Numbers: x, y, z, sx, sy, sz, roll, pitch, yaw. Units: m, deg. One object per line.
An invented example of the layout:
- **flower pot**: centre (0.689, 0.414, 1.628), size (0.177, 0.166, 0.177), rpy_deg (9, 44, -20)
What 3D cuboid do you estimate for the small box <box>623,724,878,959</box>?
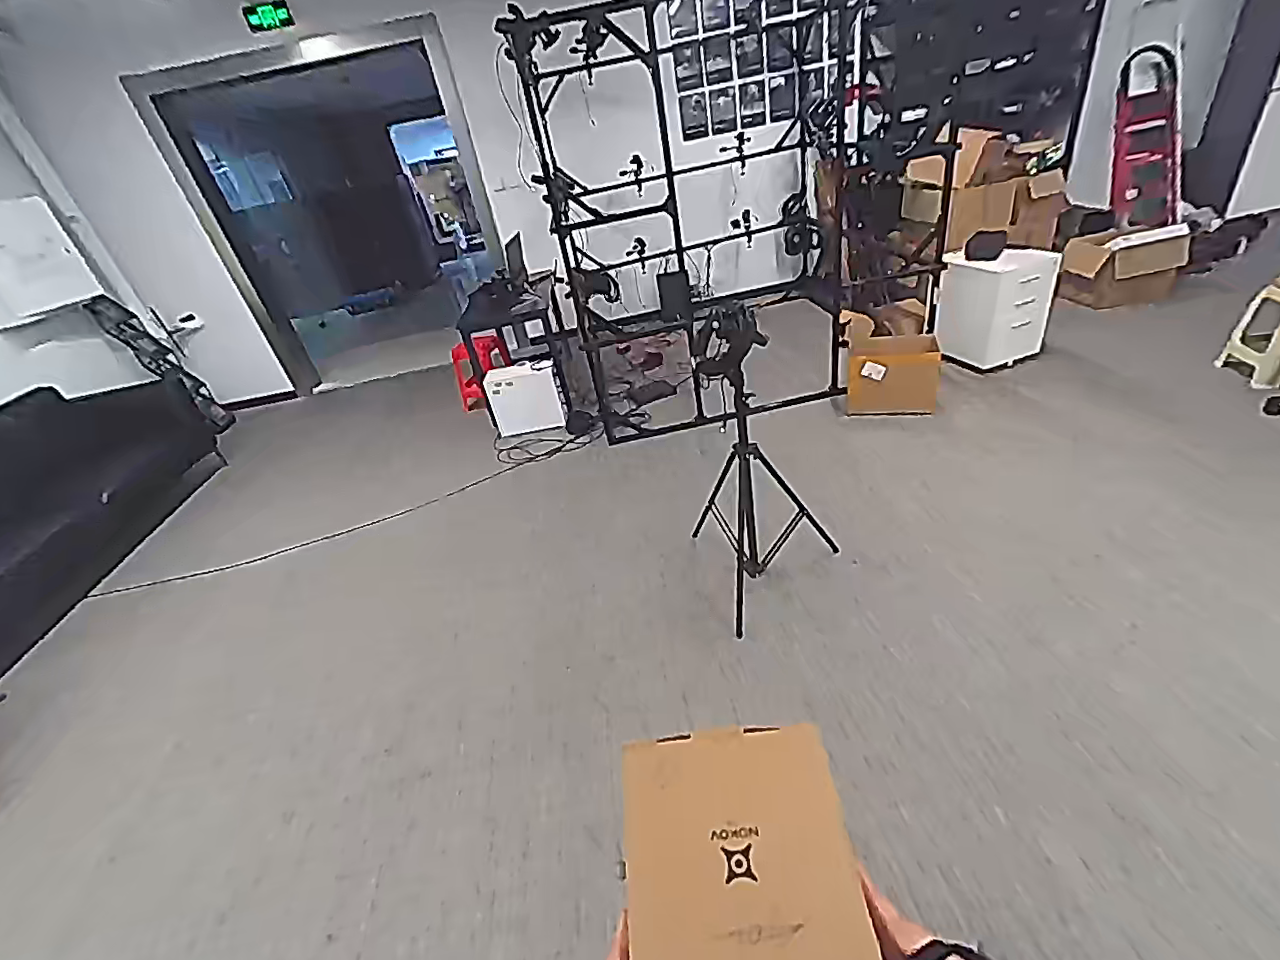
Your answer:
- **small box**: centre (0.076, 0.329, 0.453), size (0.168, 0.176, 0.179), rpy_deg (-6, 47, 1)
